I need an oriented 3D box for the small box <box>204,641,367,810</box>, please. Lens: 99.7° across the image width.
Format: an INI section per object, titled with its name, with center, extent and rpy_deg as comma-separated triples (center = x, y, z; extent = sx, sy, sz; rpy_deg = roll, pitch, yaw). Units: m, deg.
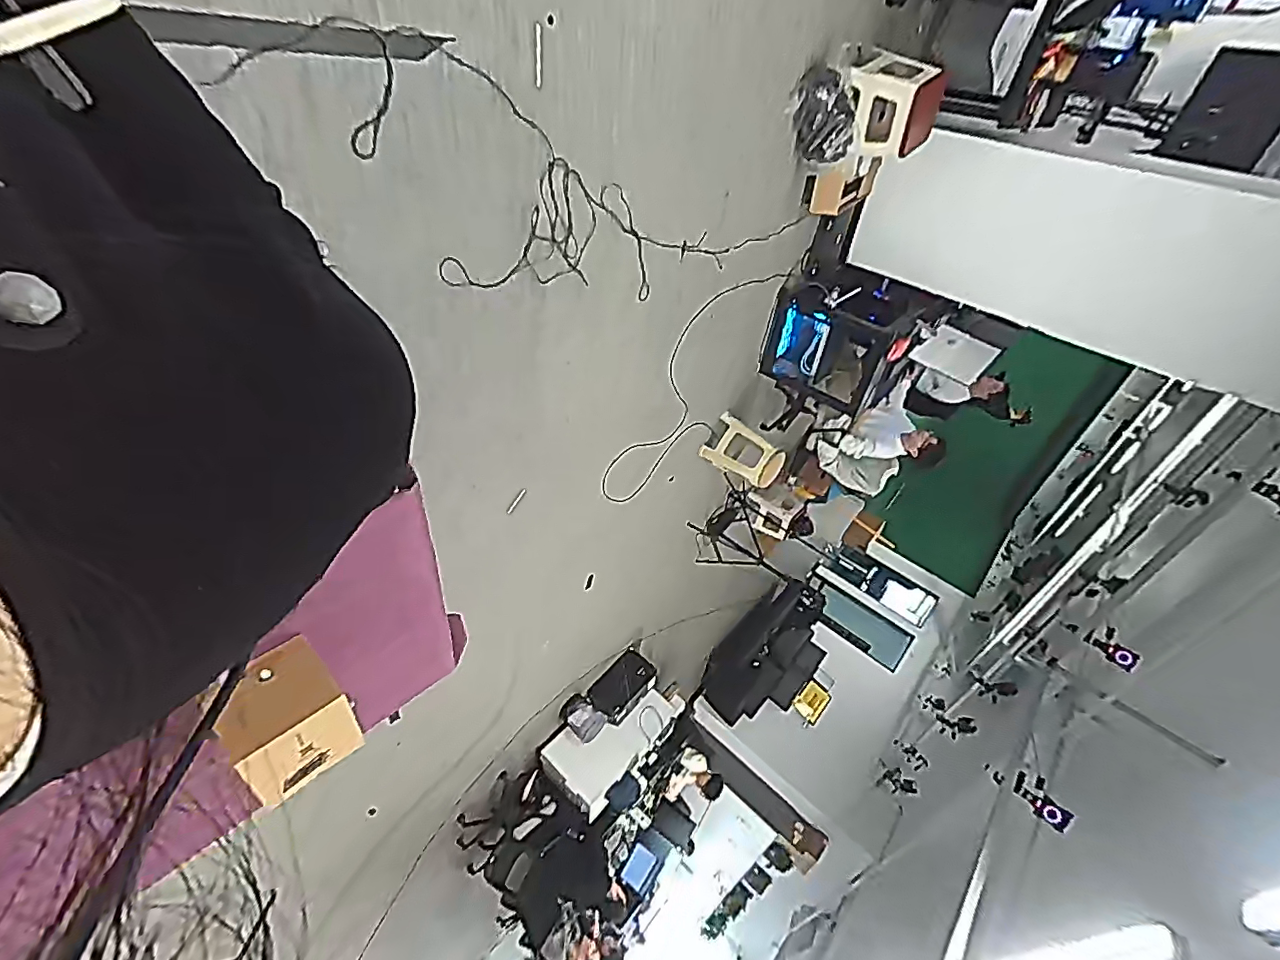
[small box]
center = -0.610, 0.418, 0.940
extent = 0.168, 0.176, 0.179
rpy_deg = -31, 143, -39
